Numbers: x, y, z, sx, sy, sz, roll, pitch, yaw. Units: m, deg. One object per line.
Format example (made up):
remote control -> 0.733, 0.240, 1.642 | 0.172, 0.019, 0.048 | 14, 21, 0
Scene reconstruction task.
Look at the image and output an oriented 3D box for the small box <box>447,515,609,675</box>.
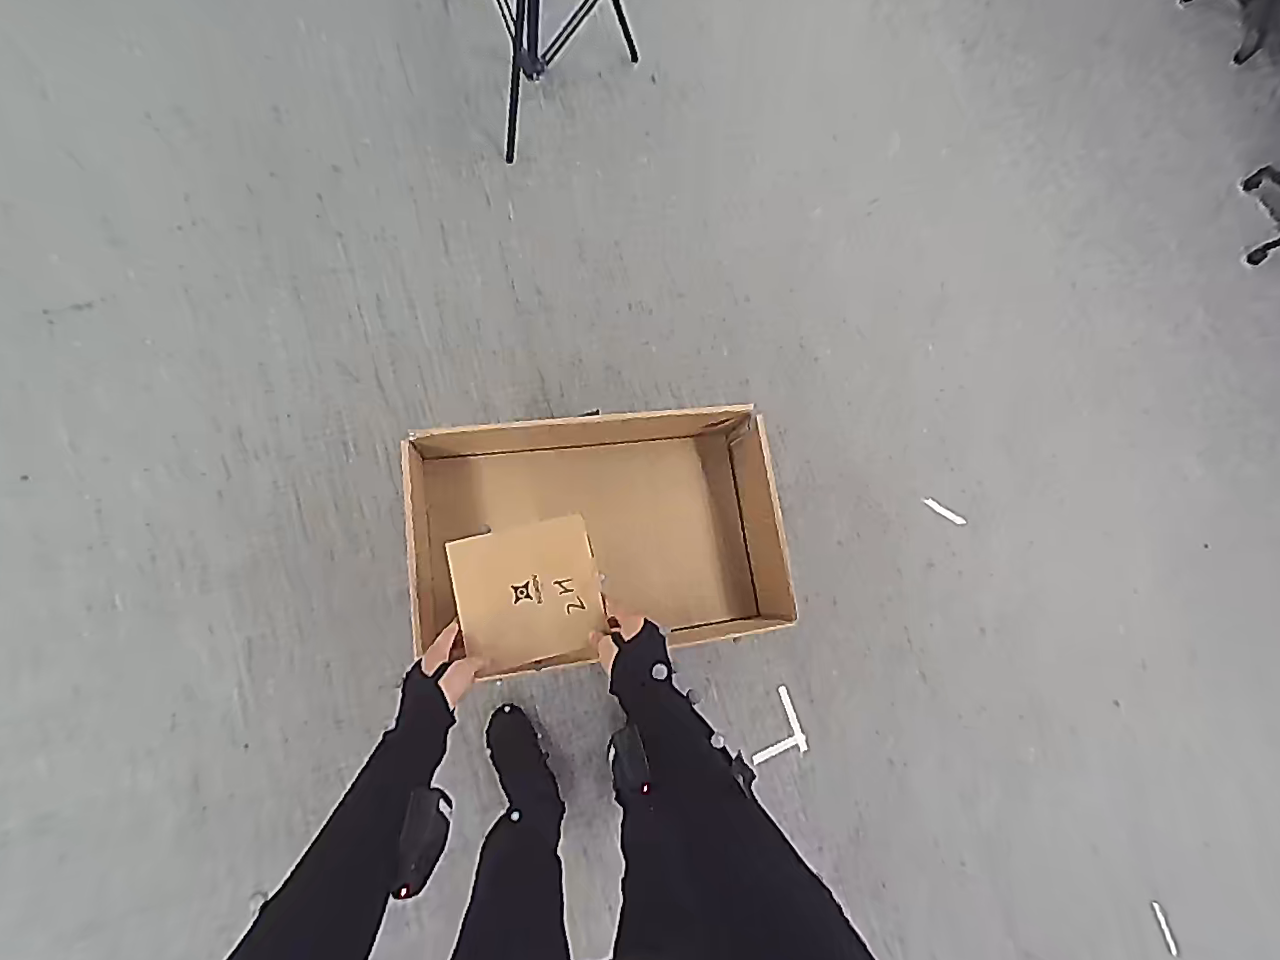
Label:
small box -> -0.147, 0.156, 0.742 | 0.179, 0.176, 0.168 | -12, 80, -10
